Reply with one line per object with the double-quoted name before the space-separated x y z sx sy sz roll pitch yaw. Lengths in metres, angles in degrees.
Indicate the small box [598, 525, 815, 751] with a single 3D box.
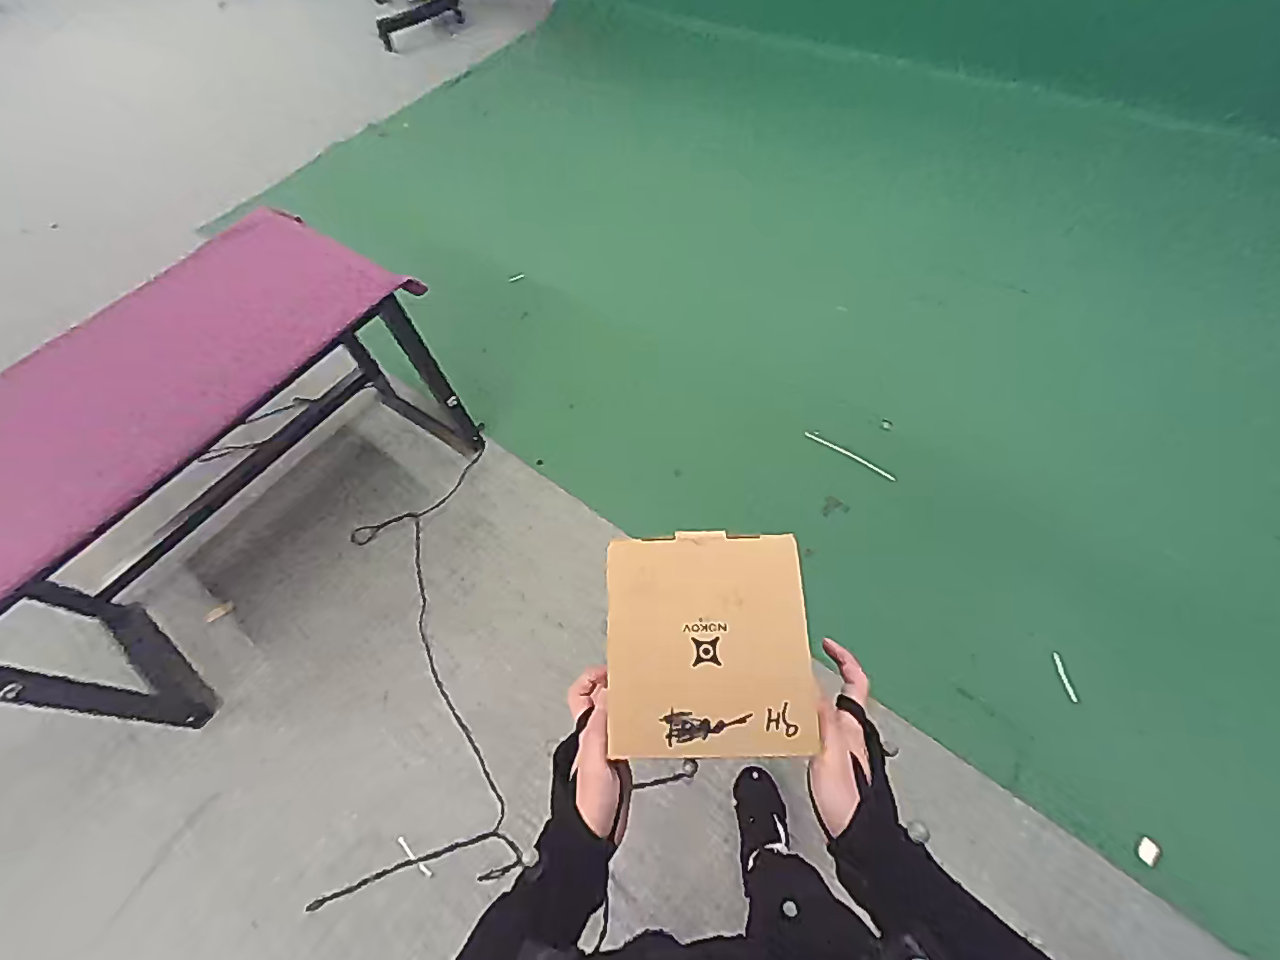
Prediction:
"small box" 0.052 0.151 0.510 0.168 0.176 0.179 -2 69 3
